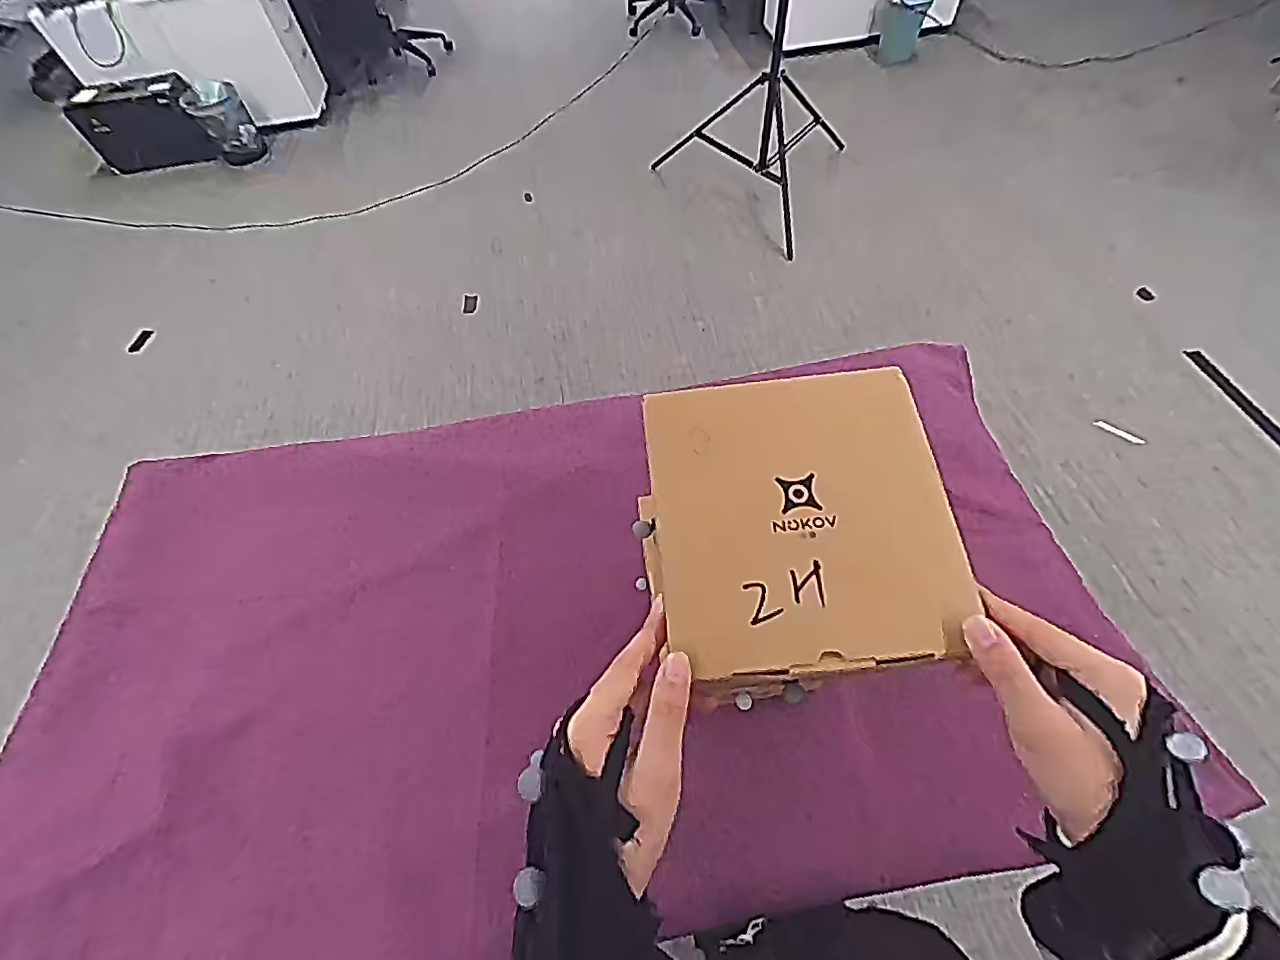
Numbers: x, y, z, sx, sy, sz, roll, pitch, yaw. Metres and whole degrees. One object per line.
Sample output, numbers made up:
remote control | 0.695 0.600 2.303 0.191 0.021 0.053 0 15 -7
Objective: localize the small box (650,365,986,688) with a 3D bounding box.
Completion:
small box | 0.097 0.044 0.387 0.168 0.176 0.179 -6 65 2

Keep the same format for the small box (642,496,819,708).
small box | 0.095 0.122 0.569 0.168 0.176 0.179 -8 57 -1
